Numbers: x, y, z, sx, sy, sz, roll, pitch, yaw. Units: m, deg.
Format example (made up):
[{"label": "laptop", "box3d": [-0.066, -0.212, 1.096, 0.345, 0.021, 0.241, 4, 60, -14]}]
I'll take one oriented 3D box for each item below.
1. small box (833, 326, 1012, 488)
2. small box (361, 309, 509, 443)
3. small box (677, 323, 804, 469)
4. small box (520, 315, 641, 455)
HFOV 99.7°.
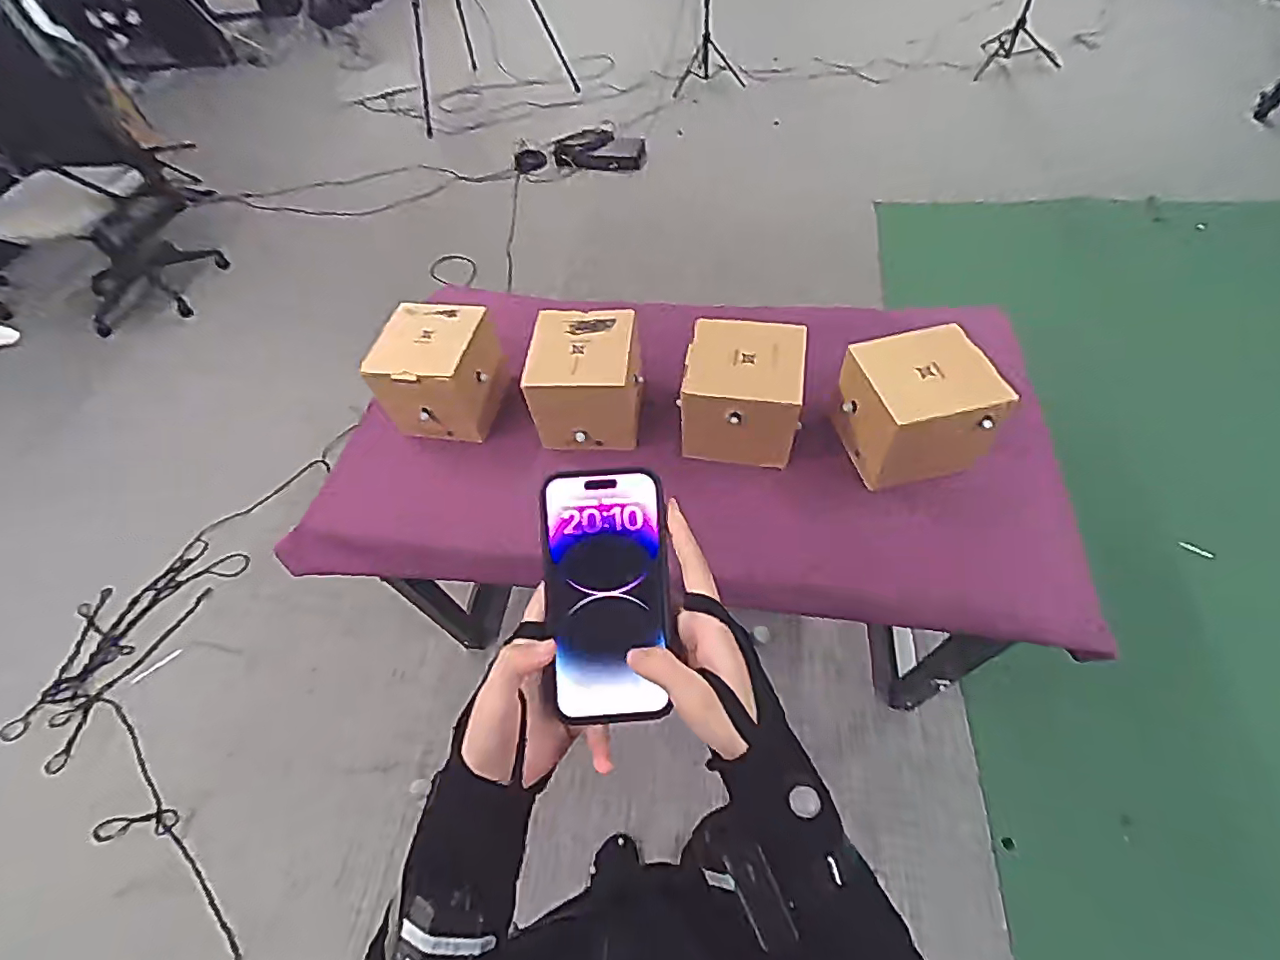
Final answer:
[{"label": "small box", "box3d": [0.416, -0.107, 0.841, 0.179, 0.176, 0.168, -13, 55, -2]}, {"label": "small box", "box3d": [-0.355, -0.184, 0.976, 0.168, 0.176, 0.179, 5, 57, 10]}, {"label": "small box", "box3d": [0.164, -0.134, 0.888, 0.179, 0.176, 0.168, 8, 58, 11]}, {"label": "small box", "box3d": [-0.091, -0.163, 0.934, 0.168, 0.176, 0.179, 1, 56, 7]}]
